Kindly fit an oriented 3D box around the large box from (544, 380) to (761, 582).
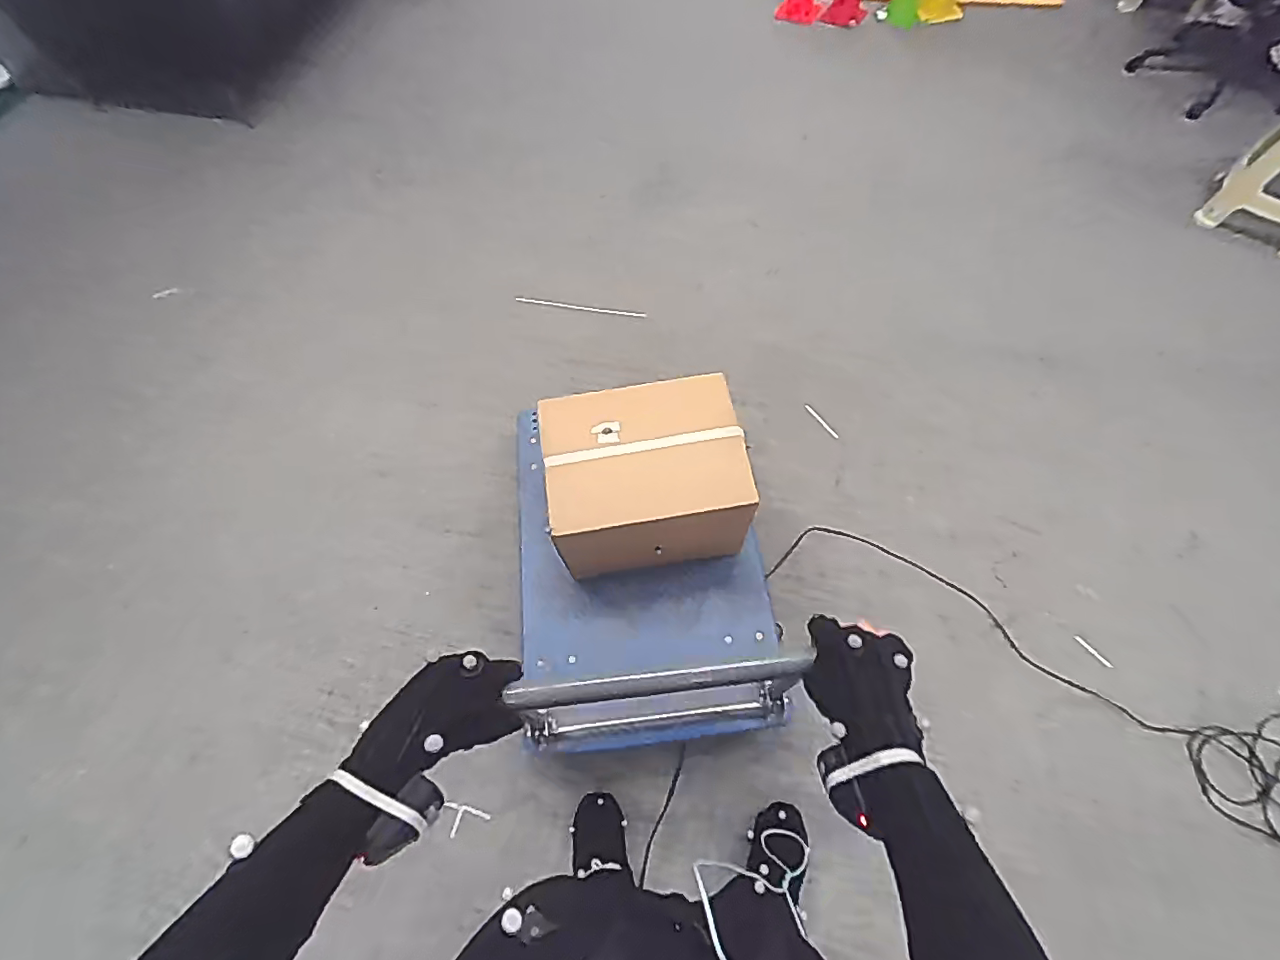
[{"bbox_3d":[0.022,0.017,1.230,0.408,0.320,0.320,-10,64,-2],"label":"large box"}]
